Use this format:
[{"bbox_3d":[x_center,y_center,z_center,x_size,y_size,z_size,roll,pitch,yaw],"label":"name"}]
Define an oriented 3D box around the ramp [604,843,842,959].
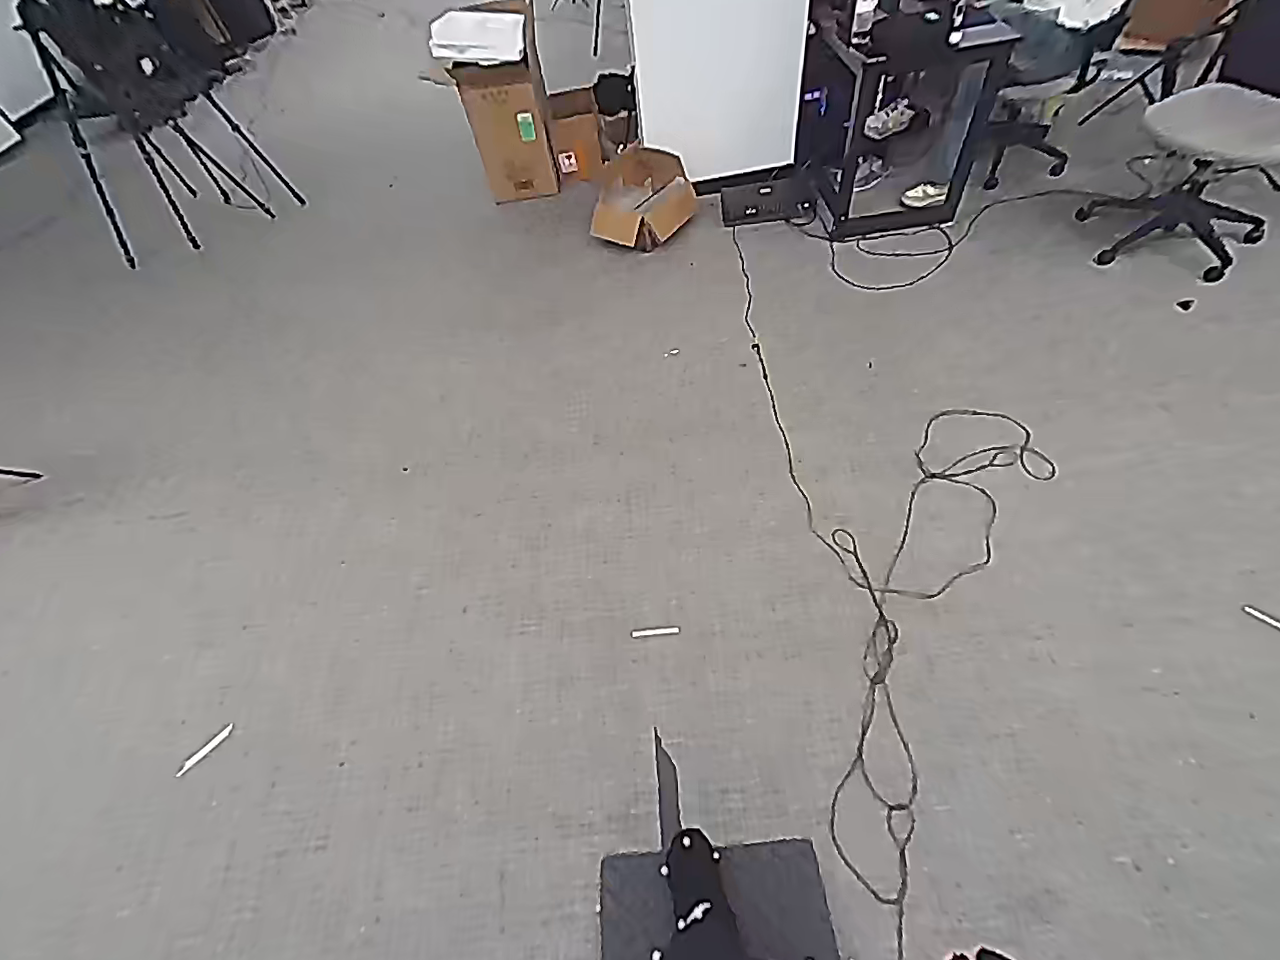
[{"bbox_3d":[0.180,1.200,0.884,0.509,0.206,0.991,-10,52,3],"label":"ramp"}]
